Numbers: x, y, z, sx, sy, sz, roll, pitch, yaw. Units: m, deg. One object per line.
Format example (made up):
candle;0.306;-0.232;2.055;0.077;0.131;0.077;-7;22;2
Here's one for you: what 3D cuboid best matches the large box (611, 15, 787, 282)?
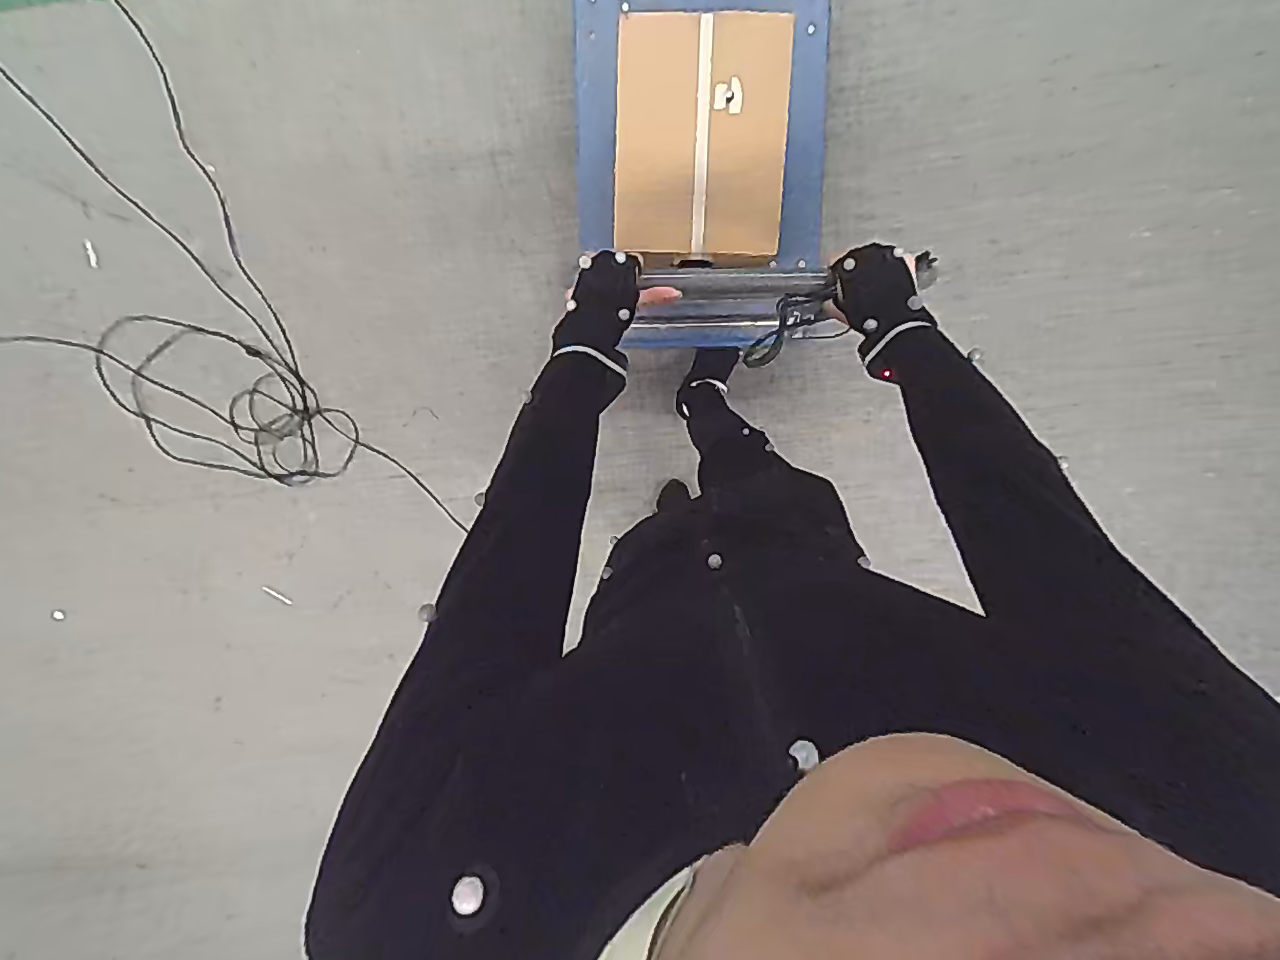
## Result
large box;0.111;-0.652;1.141;0.320;0.320;0.408;2;100;1
